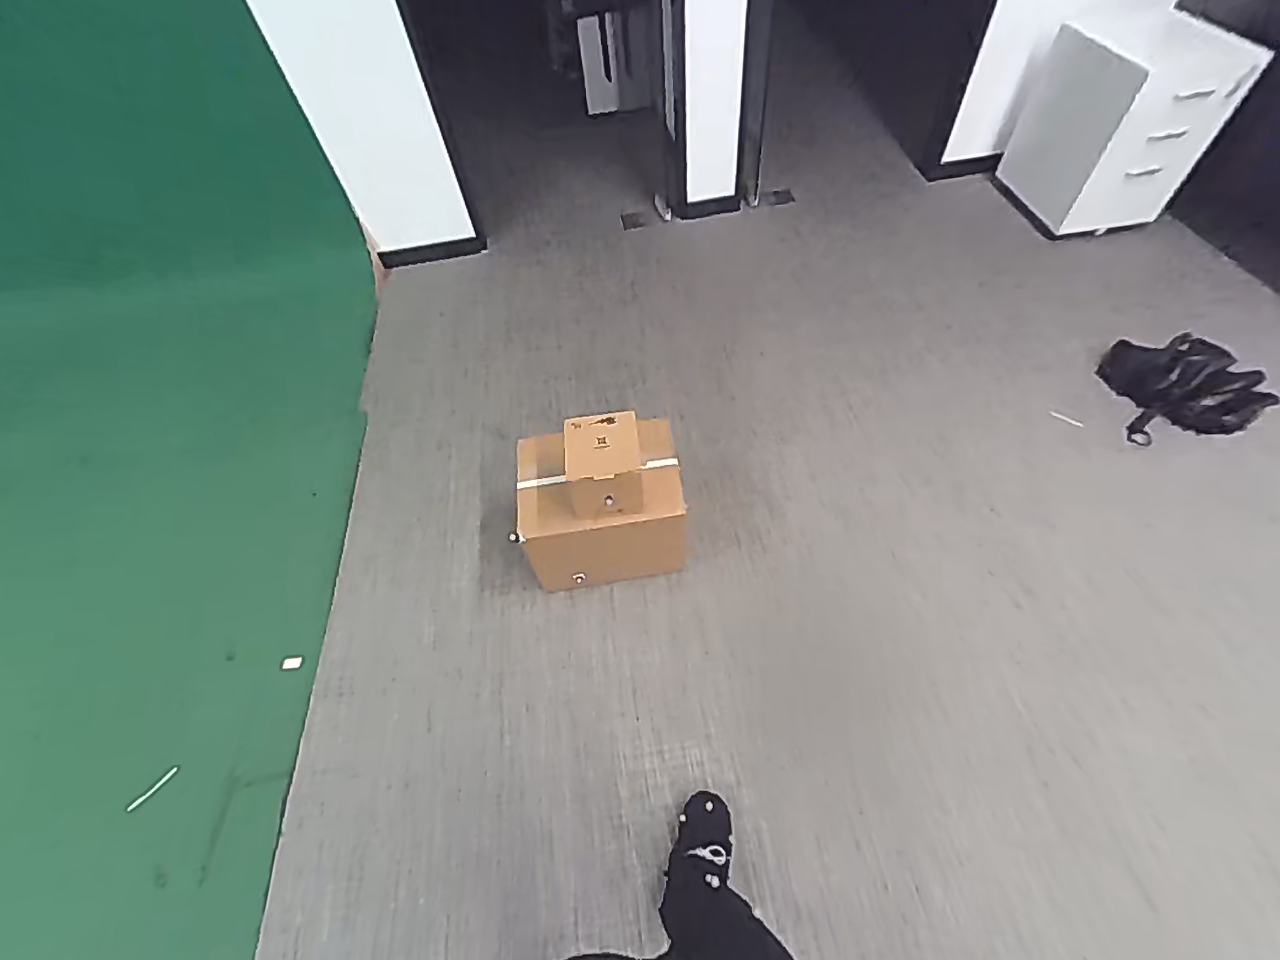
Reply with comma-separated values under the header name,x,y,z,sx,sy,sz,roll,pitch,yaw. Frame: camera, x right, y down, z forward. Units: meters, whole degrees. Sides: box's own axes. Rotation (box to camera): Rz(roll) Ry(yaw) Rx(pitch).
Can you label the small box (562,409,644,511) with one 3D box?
name,x,y,z,sx,sy,sz,roll,pitch,yaw
small box,-0.083,-0.039,1.258,0.168,0.176,0.179,-7,57,1
